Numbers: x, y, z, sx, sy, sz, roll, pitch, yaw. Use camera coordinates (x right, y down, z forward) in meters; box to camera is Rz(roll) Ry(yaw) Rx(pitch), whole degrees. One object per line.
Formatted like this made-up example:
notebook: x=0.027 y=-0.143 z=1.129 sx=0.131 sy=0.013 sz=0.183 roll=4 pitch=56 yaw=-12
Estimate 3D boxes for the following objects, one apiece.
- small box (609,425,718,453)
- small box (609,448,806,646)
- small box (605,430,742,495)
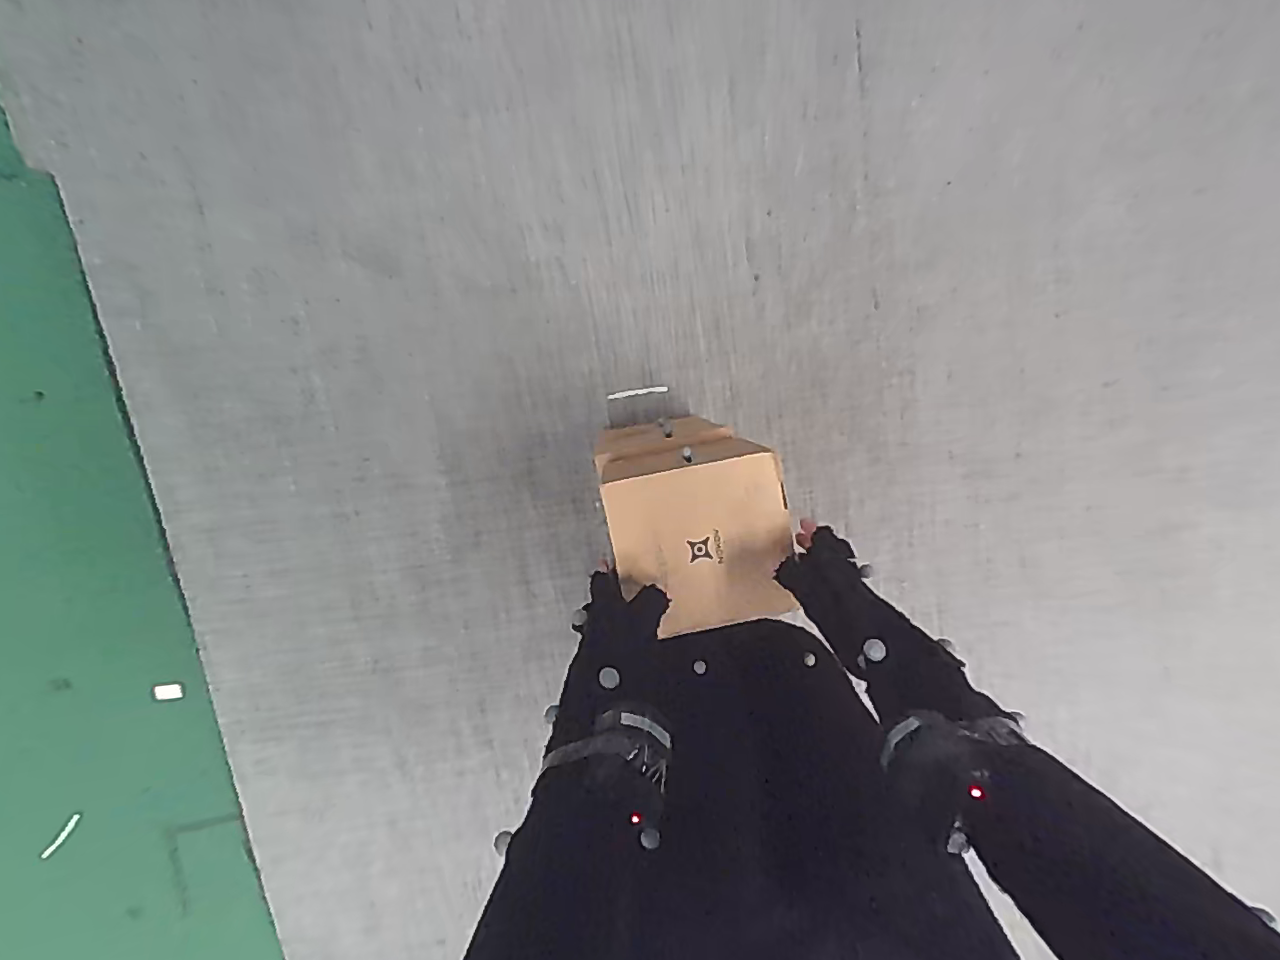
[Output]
small box: x=0.043 y=0.000 z=0.929 sx=0.179 sy=0.176 sz=0.168 roll=-9 pitch=98 yaw=-1
small box: x=0.065 y=0.062 z=0.610 sx=0.179 sy=0.176 sz=0.168 roll=-11 pitch=97 yaw=0
small box: x=0.049 y=0.026 z=0.768 sx=0.179 sy=0.176 sz=0.168 roll=-11 pitch=99 yaw=-1
